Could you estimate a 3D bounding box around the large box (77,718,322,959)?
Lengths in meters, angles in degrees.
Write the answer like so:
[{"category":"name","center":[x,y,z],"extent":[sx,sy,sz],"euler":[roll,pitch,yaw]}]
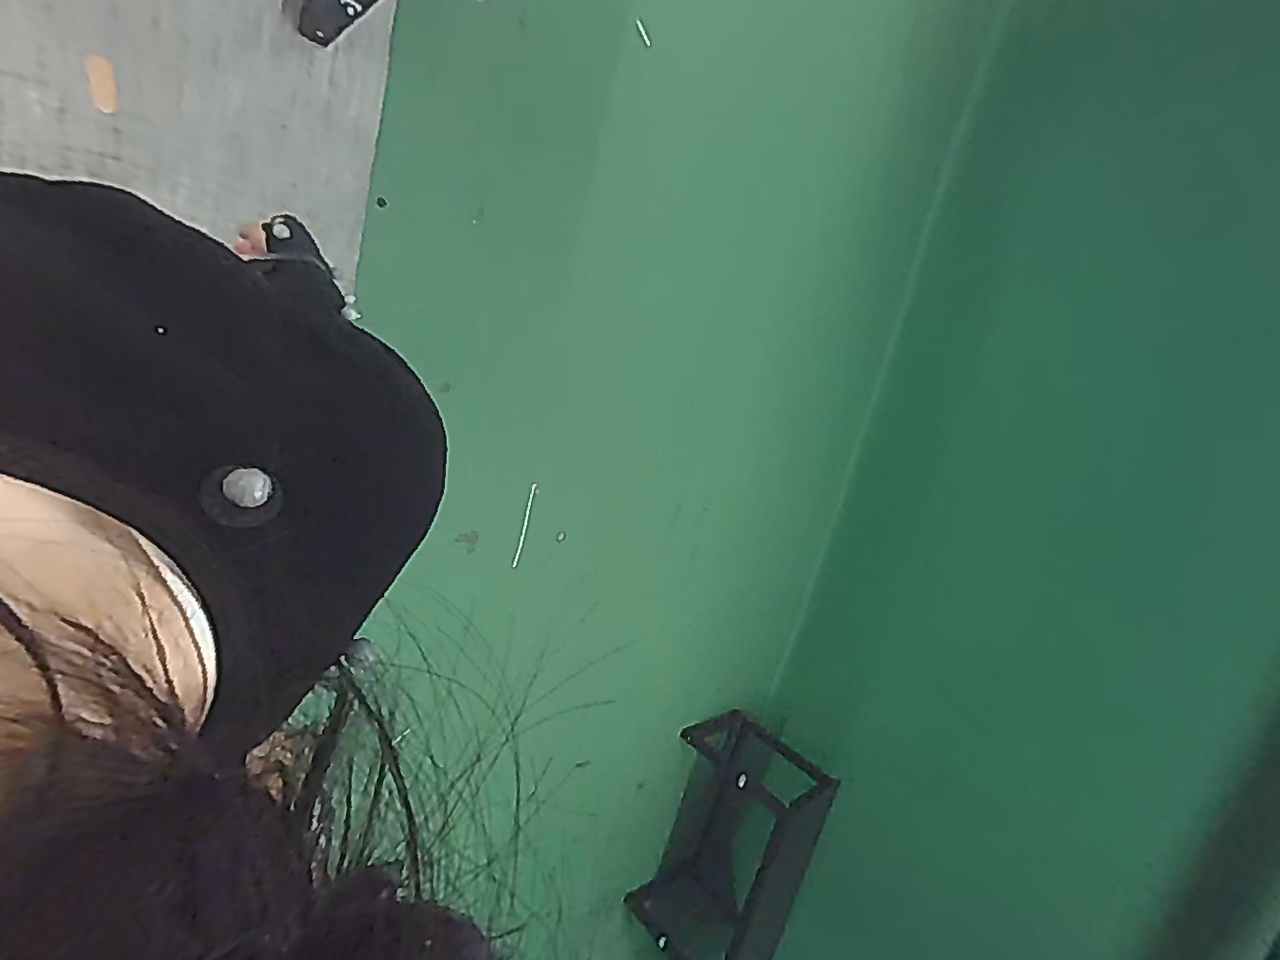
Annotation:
[{"category":"large box","center":[-1.087,0.892,1.357],"extent":[0.408,0.320,0.320],"euler":[-15,119,-43]}]
